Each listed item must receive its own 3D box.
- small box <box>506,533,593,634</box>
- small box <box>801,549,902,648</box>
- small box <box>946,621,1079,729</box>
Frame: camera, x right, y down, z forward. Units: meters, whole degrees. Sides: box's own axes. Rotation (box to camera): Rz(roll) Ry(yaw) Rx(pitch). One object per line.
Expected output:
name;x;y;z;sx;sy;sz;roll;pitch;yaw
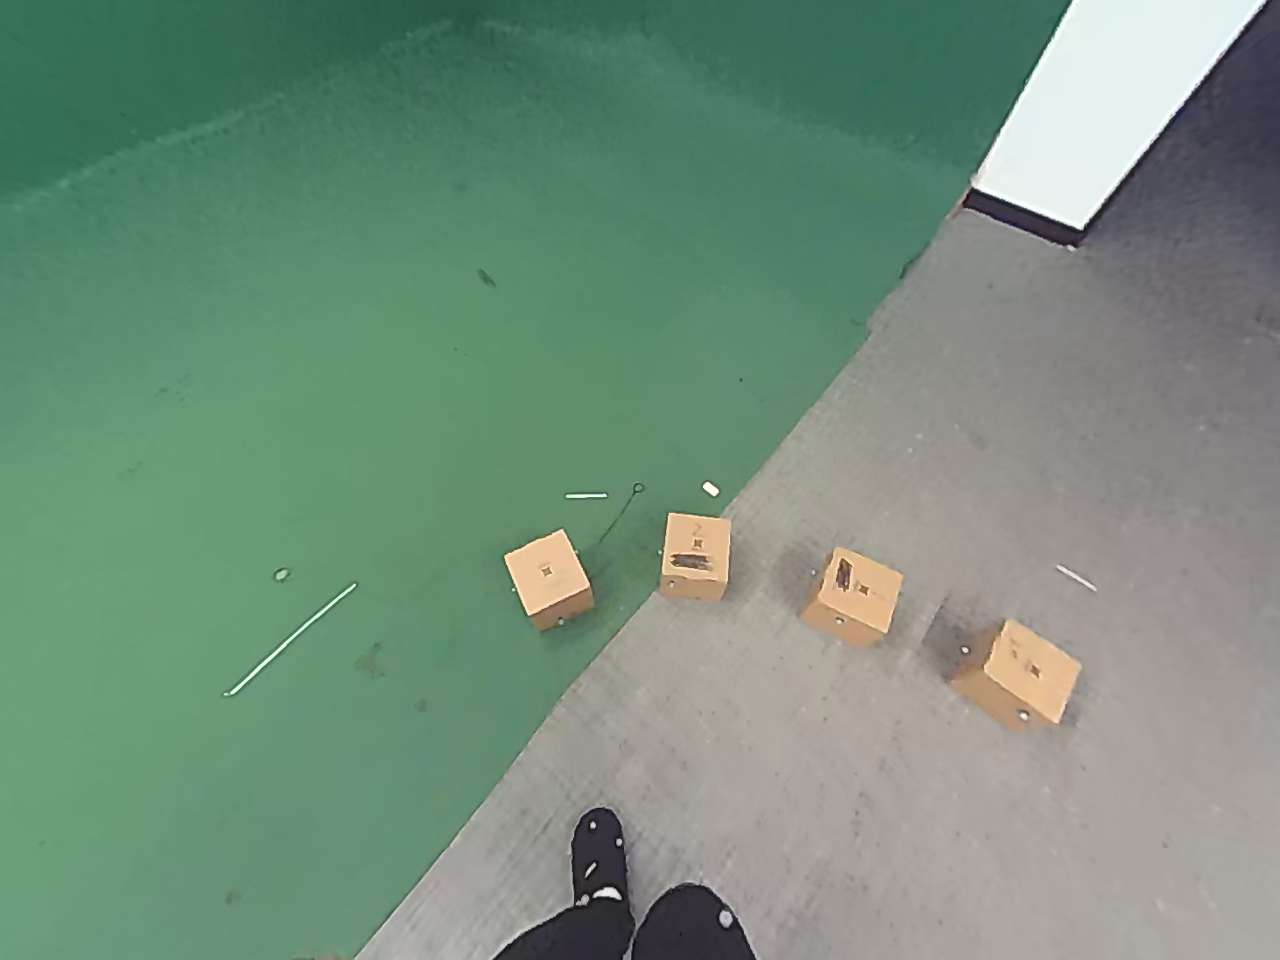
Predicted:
small box;-0.231;0.273;1.408;0.168;0.176;0.179;-23;63;-13
small box;0.535;0.310;1.390;0.179;0.176;0.168;25;63;12
small box;0.886;0.473;1.299;0.179;0.176;0.168;36;65;18
